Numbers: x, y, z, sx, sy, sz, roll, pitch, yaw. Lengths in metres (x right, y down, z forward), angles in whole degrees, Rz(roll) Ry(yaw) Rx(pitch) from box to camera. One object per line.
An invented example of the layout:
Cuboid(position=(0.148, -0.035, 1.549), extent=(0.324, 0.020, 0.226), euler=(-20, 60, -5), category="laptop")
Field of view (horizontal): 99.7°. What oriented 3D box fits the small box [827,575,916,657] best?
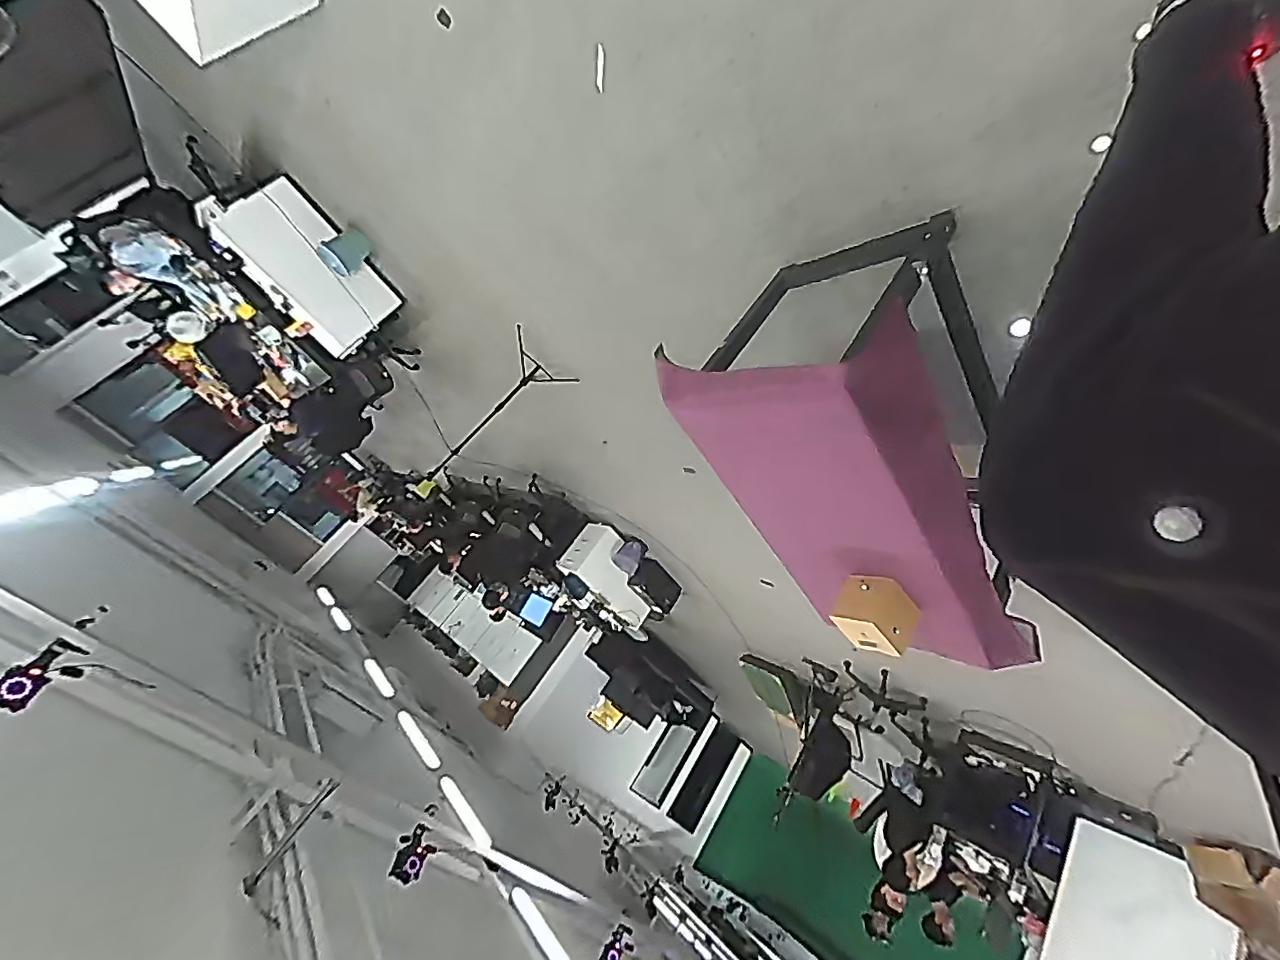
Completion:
Cuboid(position=(0.732, 0.423, 1.699), extent=(0.179, 0.176, 0.168), euler=(46, 155, -19), category="small box")
